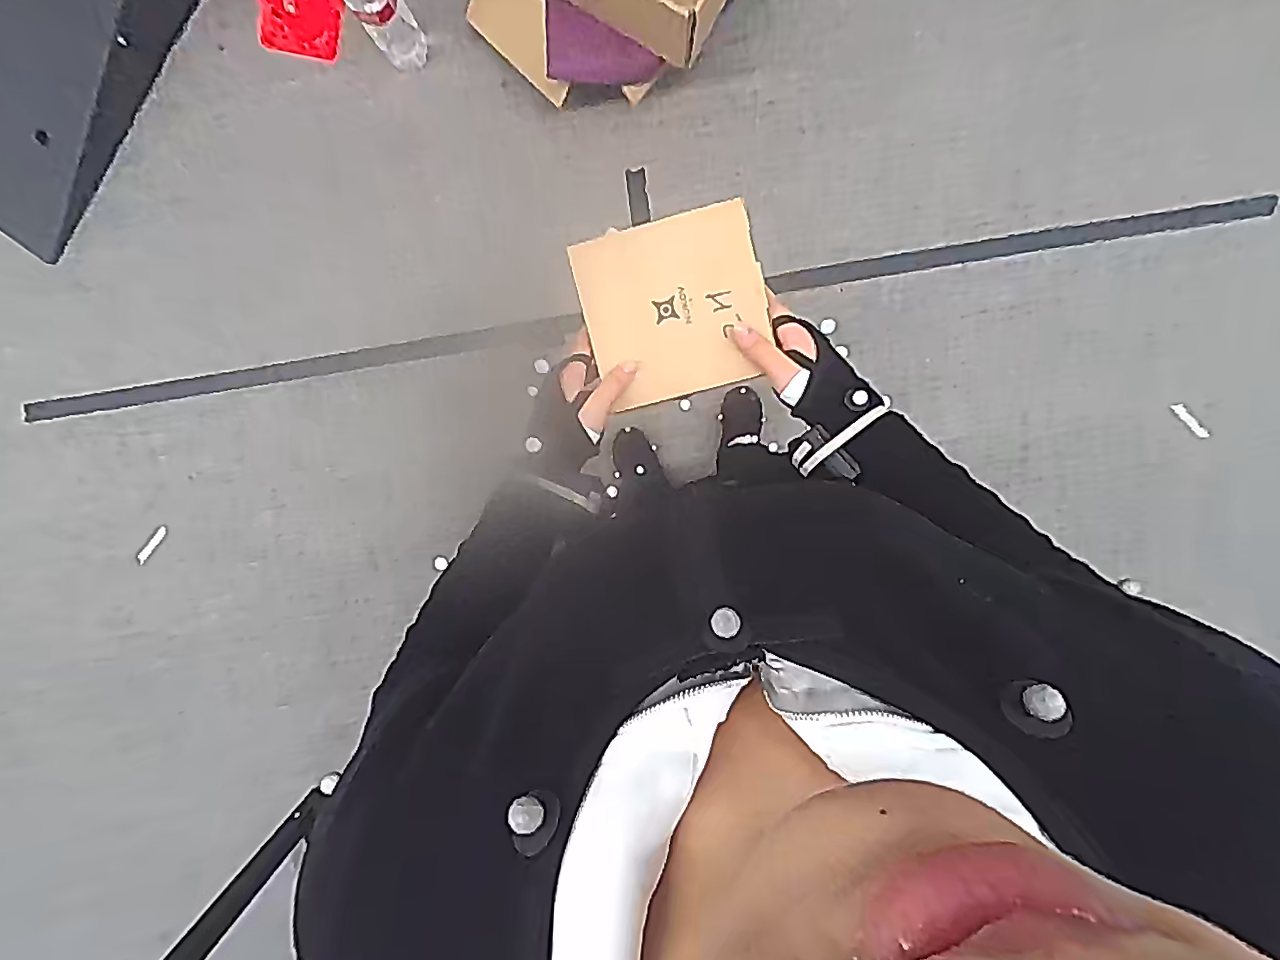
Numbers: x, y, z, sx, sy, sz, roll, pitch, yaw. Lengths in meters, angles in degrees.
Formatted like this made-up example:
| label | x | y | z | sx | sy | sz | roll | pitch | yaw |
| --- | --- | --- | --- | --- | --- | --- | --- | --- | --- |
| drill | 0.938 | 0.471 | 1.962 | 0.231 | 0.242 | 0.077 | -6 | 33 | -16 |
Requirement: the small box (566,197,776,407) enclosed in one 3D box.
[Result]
| label | x | y | z | sx | sy | sz | roll | pitch | yaw |
| --- | --- | --- | --- | --- | --- | --- | --- | --- | --- |
| small box | 0.035 | -0.179 | 0.599 | 0.179 | 0.176 | 0.168 | -13 | 98 | 4 |
